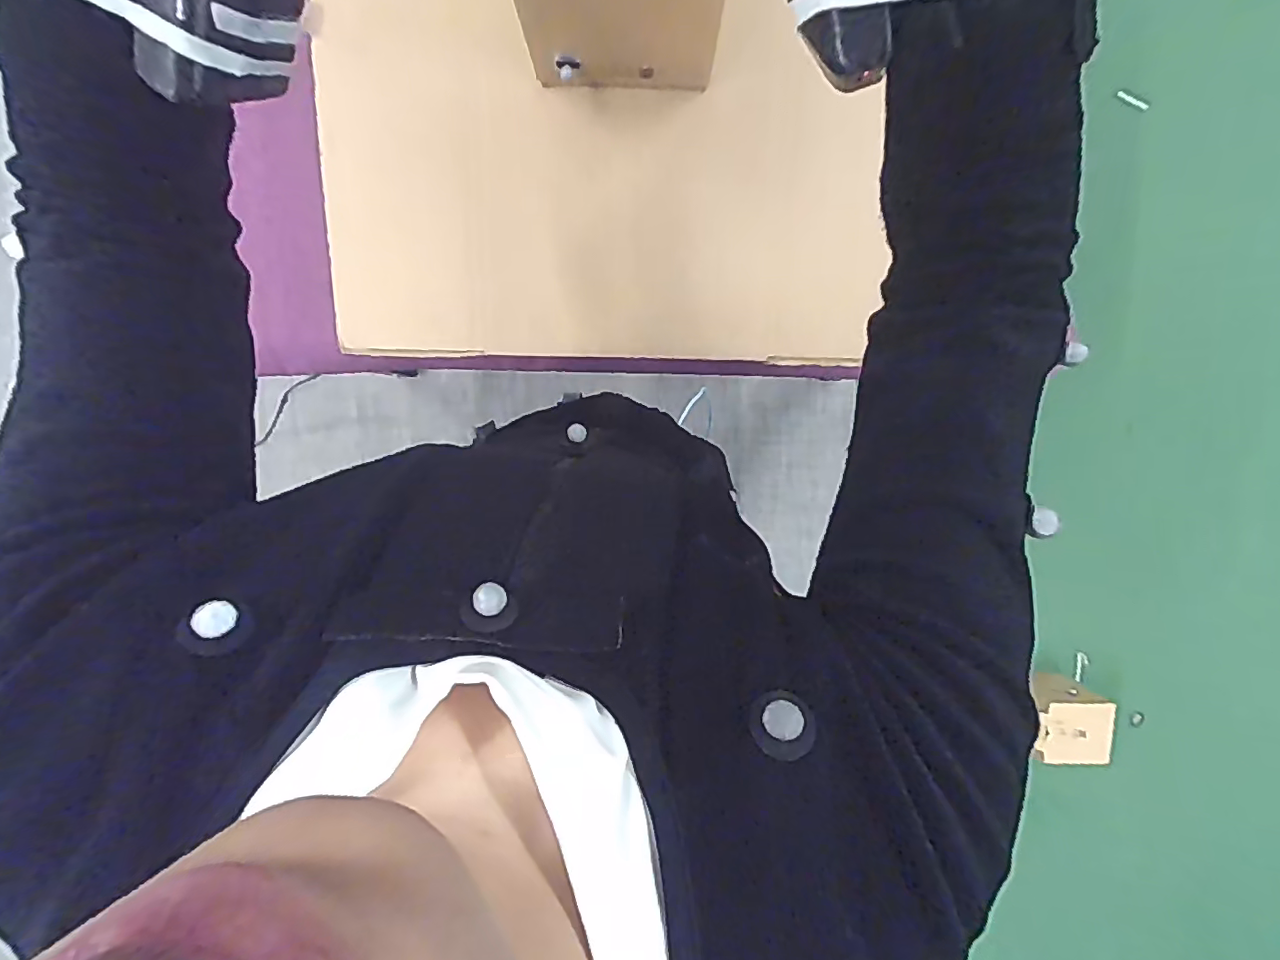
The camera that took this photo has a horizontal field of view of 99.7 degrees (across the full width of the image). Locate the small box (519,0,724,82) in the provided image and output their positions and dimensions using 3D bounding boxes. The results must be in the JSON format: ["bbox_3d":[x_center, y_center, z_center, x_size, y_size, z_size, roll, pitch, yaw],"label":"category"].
[{"bbox_3d":[-0.011,-0.456,0.427,0.168,0.176,0.179,2,95,0],"label":"small box"}]

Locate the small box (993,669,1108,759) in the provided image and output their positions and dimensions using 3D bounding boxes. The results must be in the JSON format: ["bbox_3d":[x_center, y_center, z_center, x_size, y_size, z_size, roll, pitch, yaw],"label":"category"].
[{"bbox_3d":[1.107,0.630,1.470,0.179,0.176,0.168,2,97,0],"label":"small box"}]
